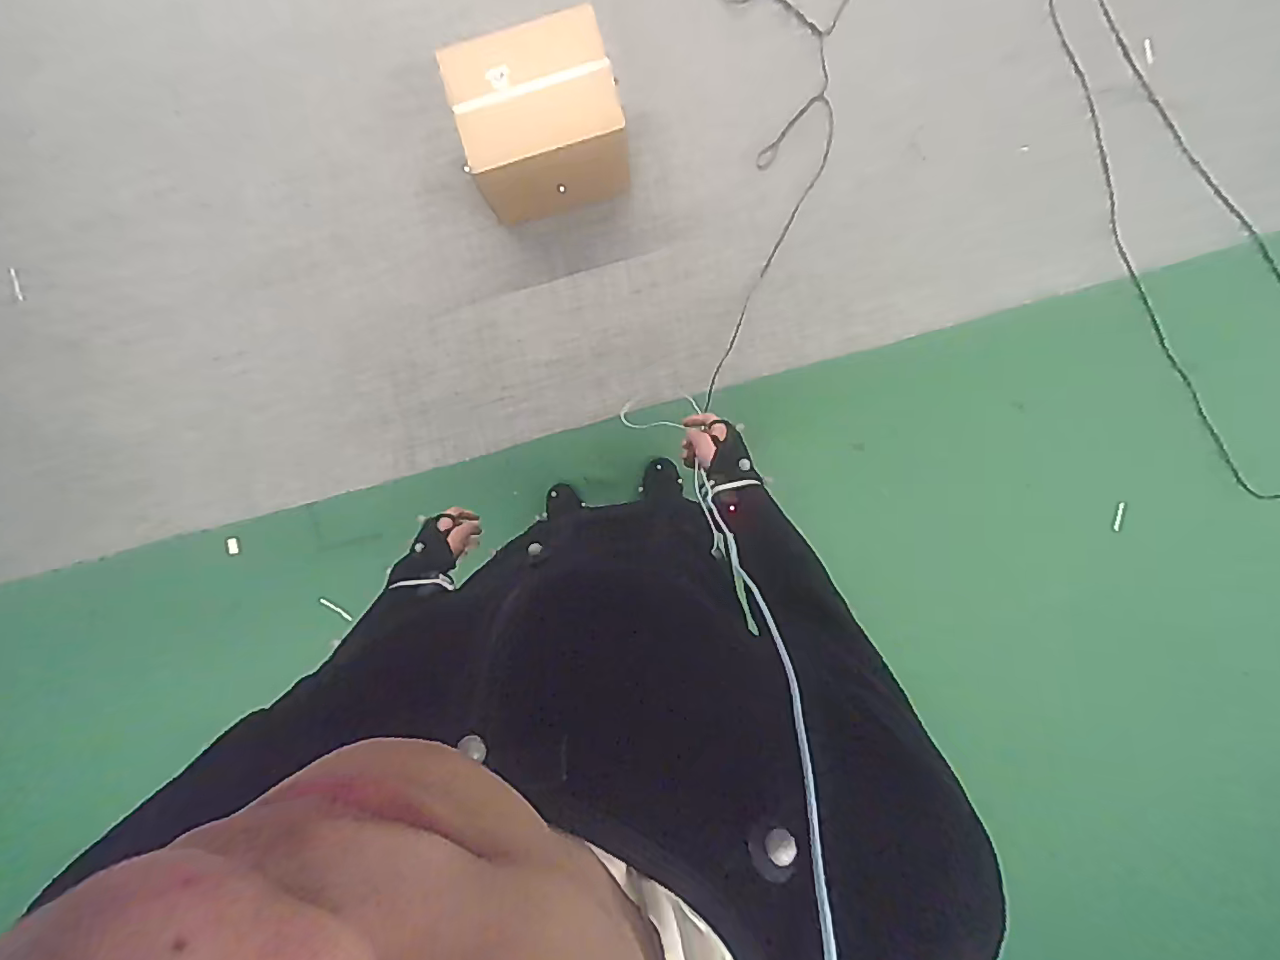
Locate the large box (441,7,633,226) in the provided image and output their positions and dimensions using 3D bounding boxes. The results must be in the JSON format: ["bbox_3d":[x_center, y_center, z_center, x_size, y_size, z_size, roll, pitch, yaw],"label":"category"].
[{"bbox_3d":[-0.257,-0.961,1.481,0.408,0.320,0.320,-17,91,3],"label":"large box"}]
